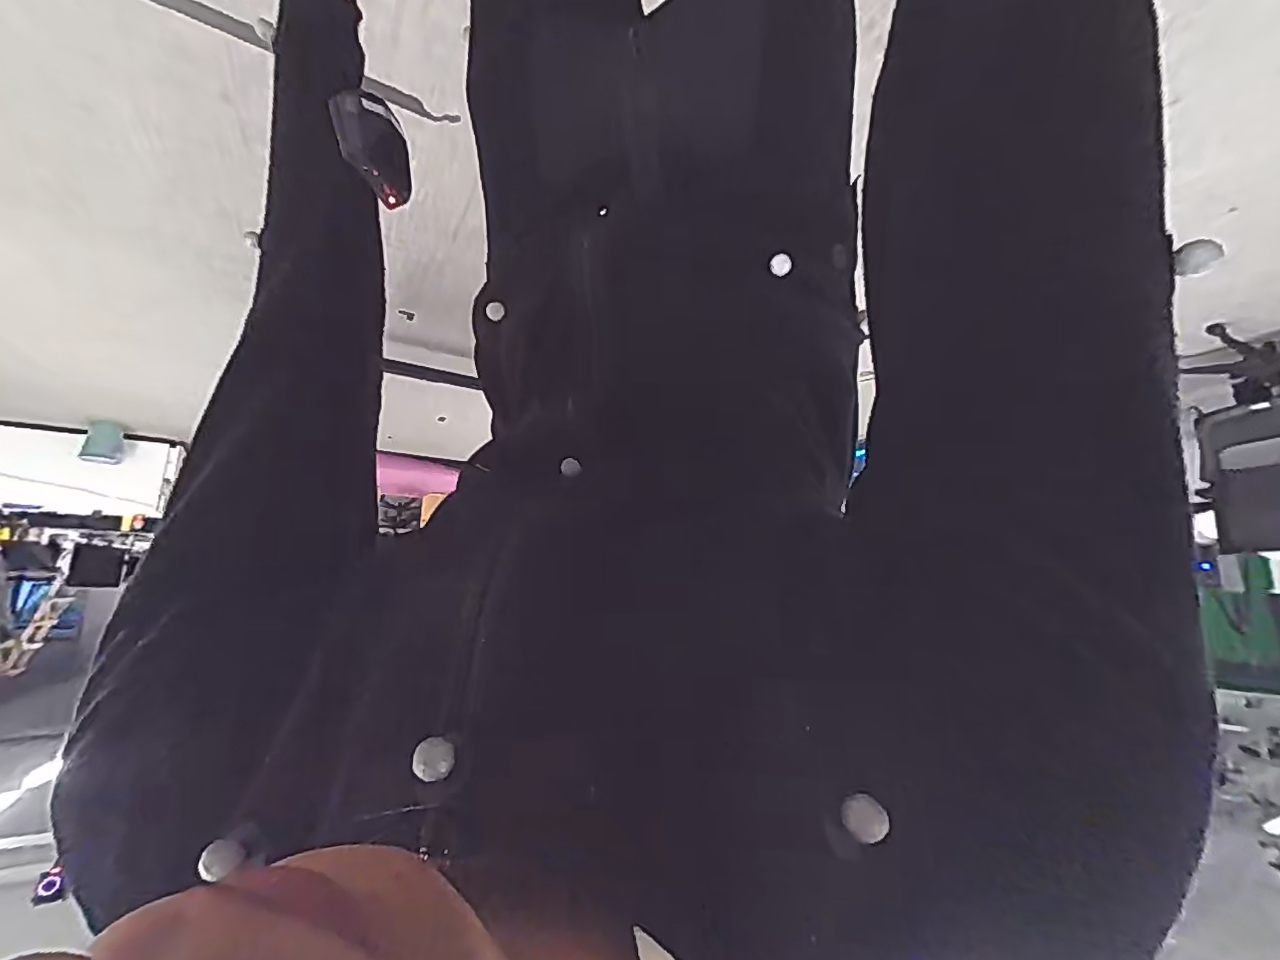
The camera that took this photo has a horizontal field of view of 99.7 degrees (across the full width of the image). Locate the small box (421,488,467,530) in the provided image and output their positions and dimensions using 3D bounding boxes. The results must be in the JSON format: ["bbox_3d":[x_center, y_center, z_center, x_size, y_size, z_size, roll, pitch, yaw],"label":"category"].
[{"bbox_3d":[-0.931,0.142,2.568,0.168,0.176,0.179,9,166,-31],"label":"small box"}]
